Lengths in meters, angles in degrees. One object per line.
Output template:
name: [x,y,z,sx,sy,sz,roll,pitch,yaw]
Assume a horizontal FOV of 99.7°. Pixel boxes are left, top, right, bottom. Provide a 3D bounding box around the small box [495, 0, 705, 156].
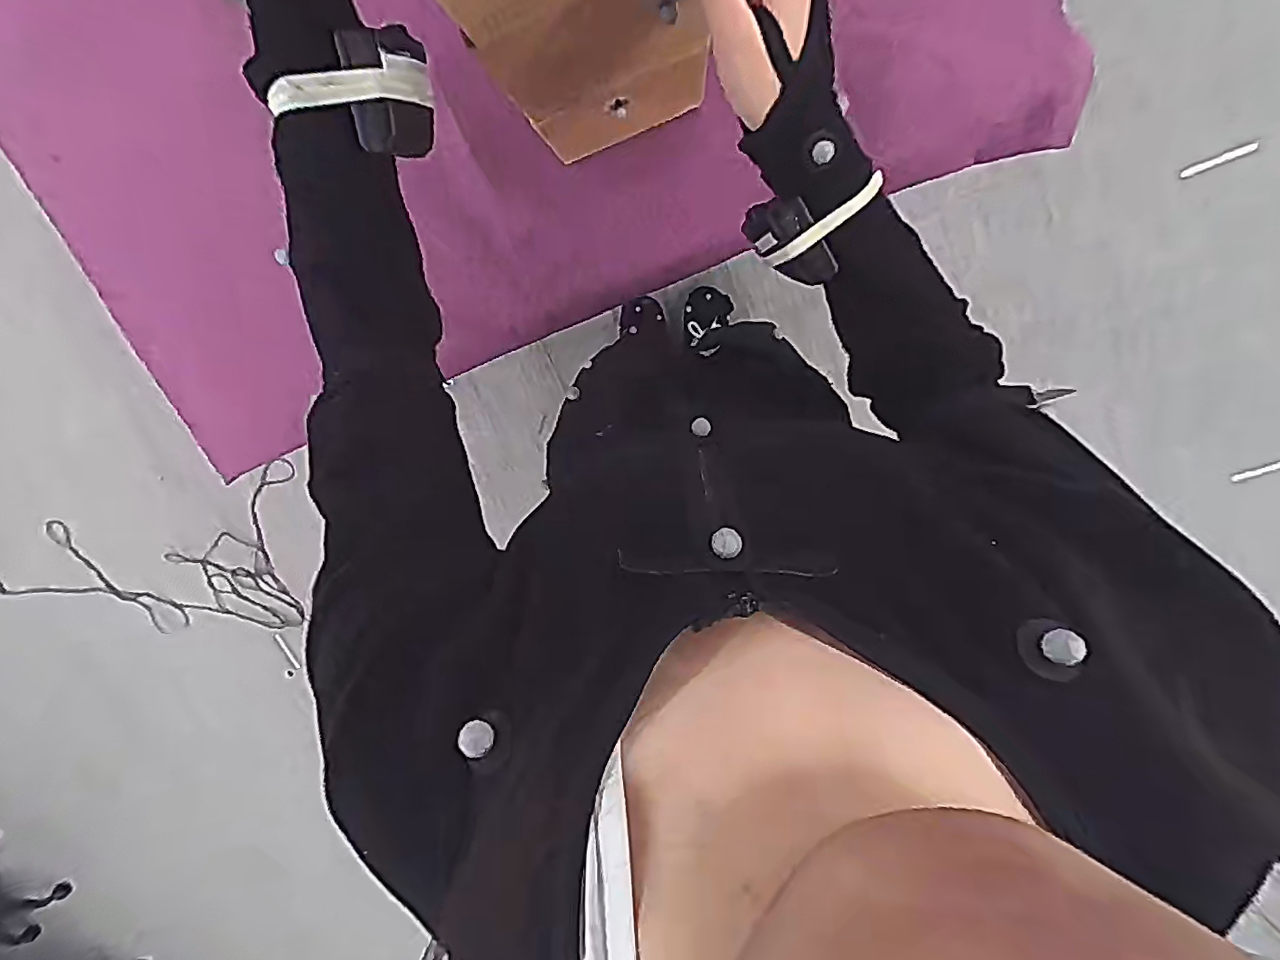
small box: [-0.043,-0.456,0.539,0.179,0.176,0.168,-18,107,10]
